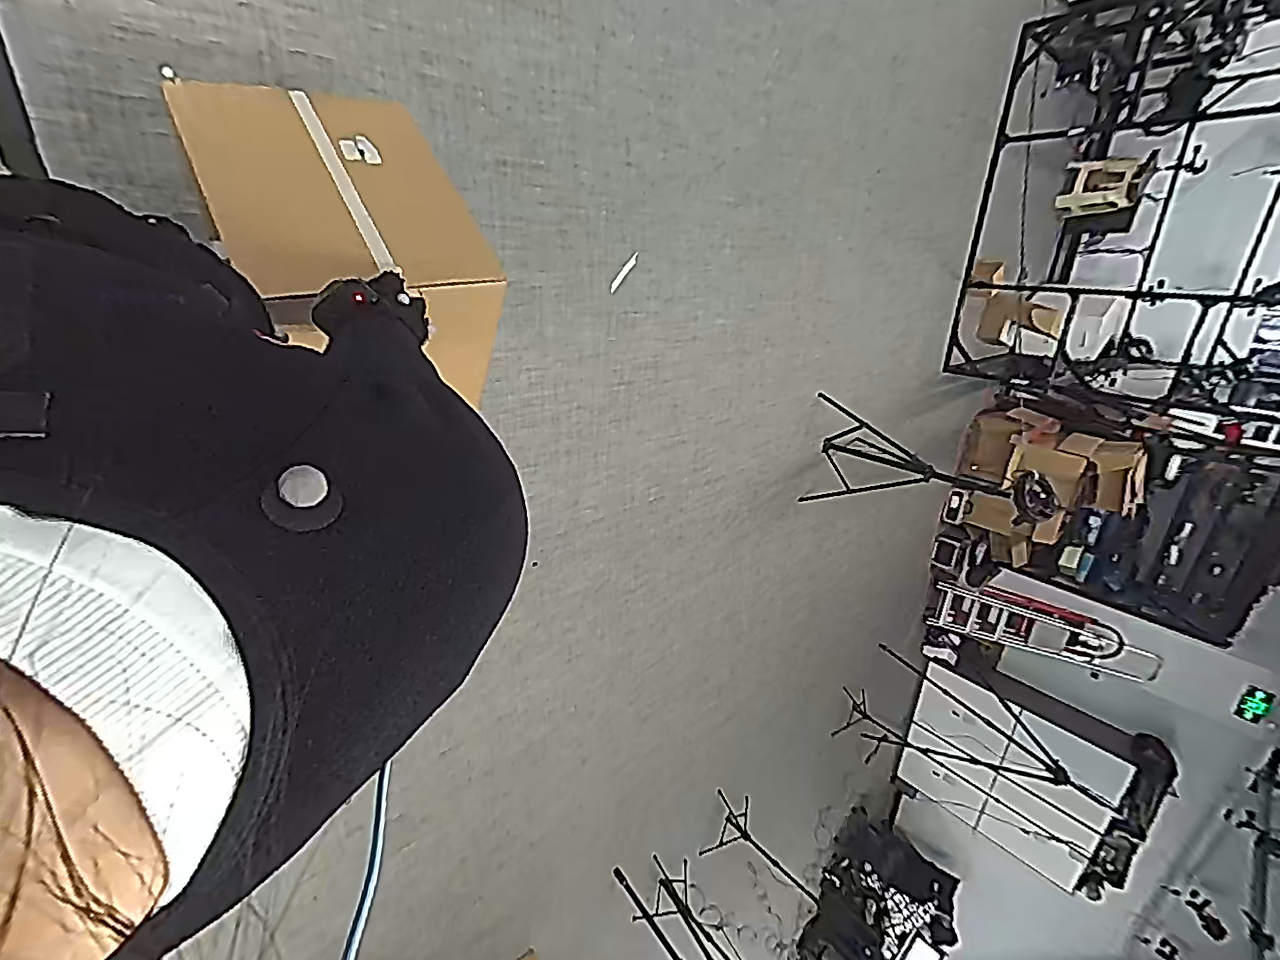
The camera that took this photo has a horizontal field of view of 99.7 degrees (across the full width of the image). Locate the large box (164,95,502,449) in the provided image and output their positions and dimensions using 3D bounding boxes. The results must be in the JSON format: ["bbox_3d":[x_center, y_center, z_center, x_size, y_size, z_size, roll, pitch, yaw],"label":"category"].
[{"bbox_3d":[-0.469,-0.321,0.864,0.320,0.408,0.320,-20,159,-35],"label":"large box"}]
